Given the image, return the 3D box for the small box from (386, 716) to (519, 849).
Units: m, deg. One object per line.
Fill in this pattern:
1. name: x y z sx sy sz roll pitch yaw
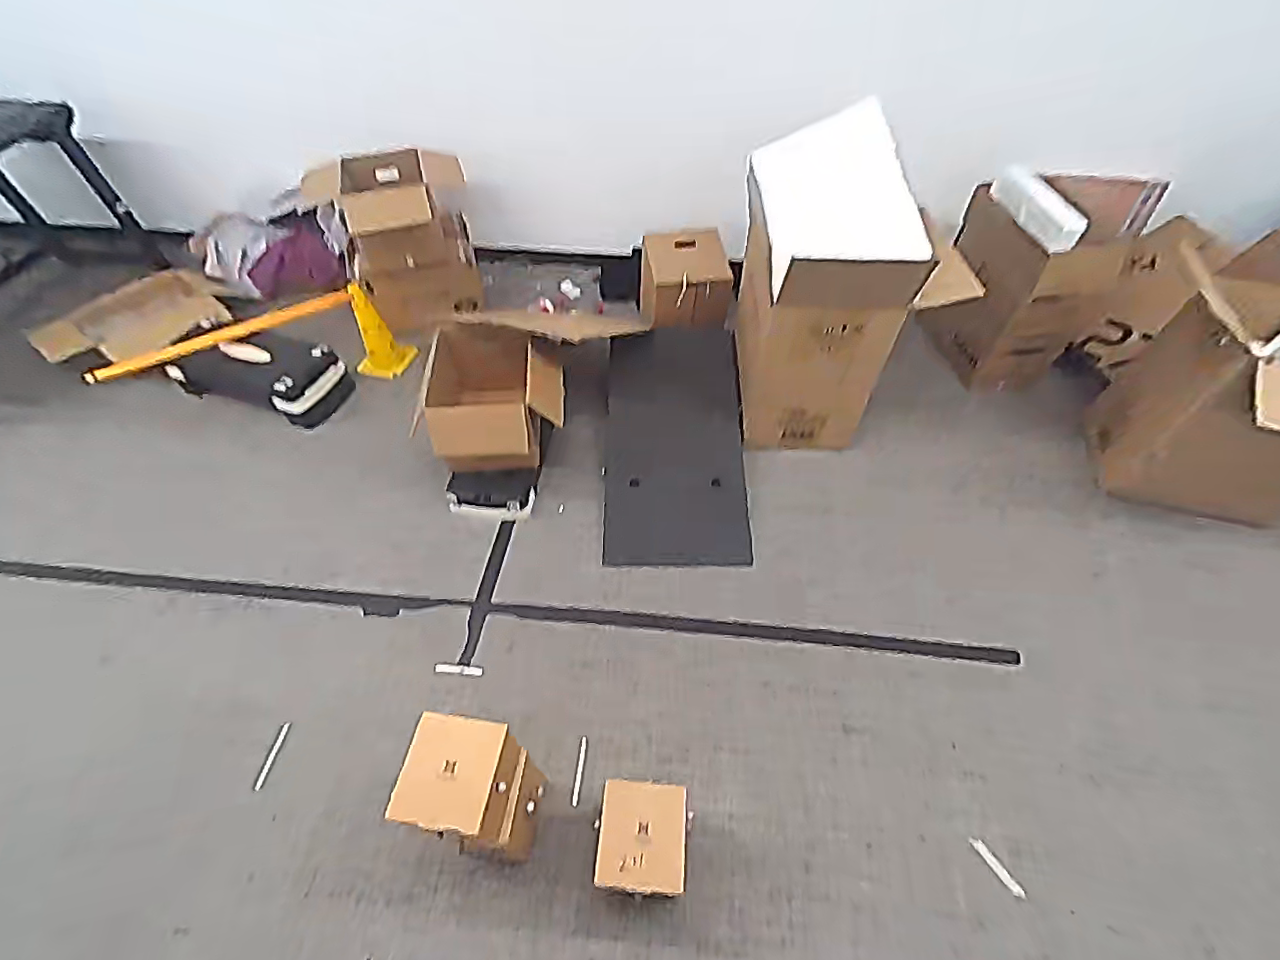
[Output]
1. small box: -0.332 0.564 1.004 0.168 0.176 0.179 7 52 4

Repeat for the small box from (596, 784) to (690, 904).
1. small box: 0.009 0.731 1.084 0.168 0.176 0.179 4 52 4

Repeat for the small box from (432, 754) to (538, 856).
1. small box: -0.324 0.671 1.127 0.179 0.176 0.168 6 52 3
